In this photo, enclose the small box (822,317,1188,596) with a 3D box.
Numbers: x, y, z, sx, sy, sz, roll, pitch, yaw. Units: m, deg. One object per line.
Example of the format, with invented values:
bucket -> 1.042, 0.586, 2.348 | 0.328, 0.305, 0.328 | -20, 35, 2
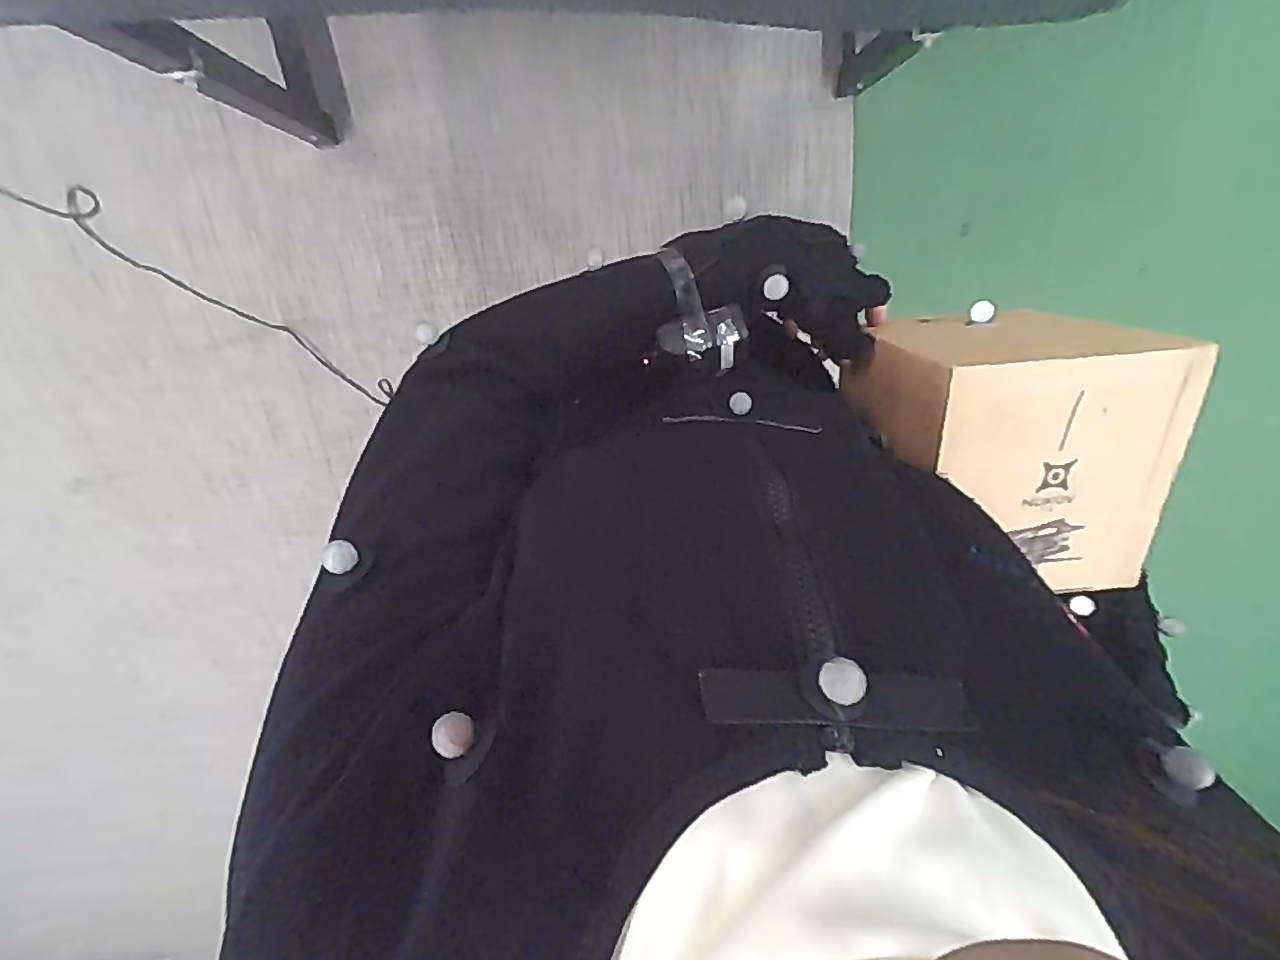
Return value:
small box -> 0.260, -0.029, 0.441 | 0.168, 0.176, 0.179 | -4, 114, -2
